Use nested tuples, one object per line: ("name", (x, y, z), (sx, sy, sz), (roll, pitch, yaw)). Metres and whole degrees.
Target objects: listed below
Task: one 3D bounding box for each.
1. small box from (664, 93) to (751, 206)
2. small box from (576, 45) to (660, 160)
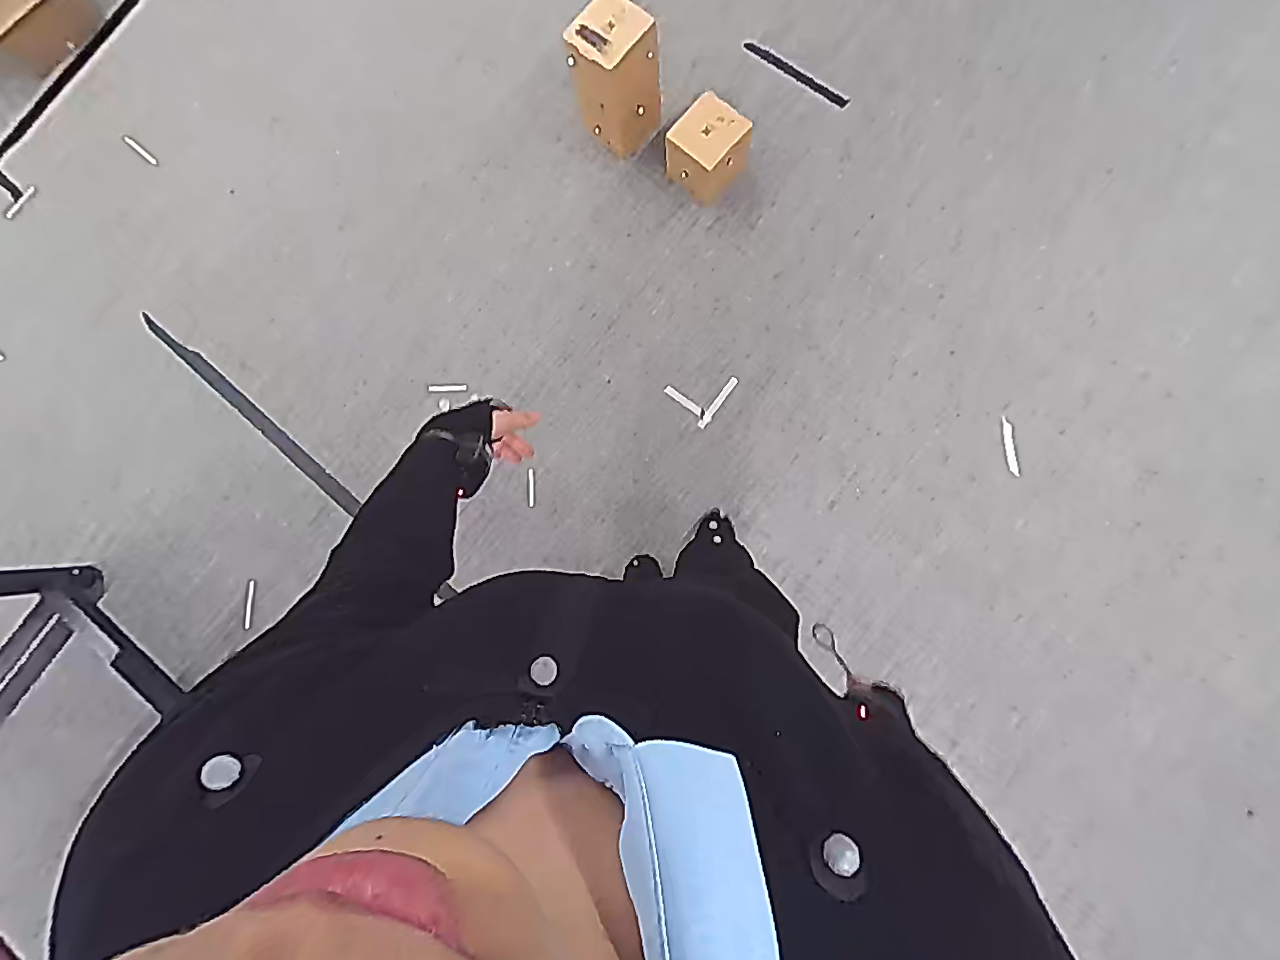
("small box", (0.189, -0.922, 1.527), (0.168, 0.176, 0.179), (42, 89, 7))
("small box", (-0.057, -1.087, 1.569), (0.168, 0.176, 0.179), (42, 89, 8))
